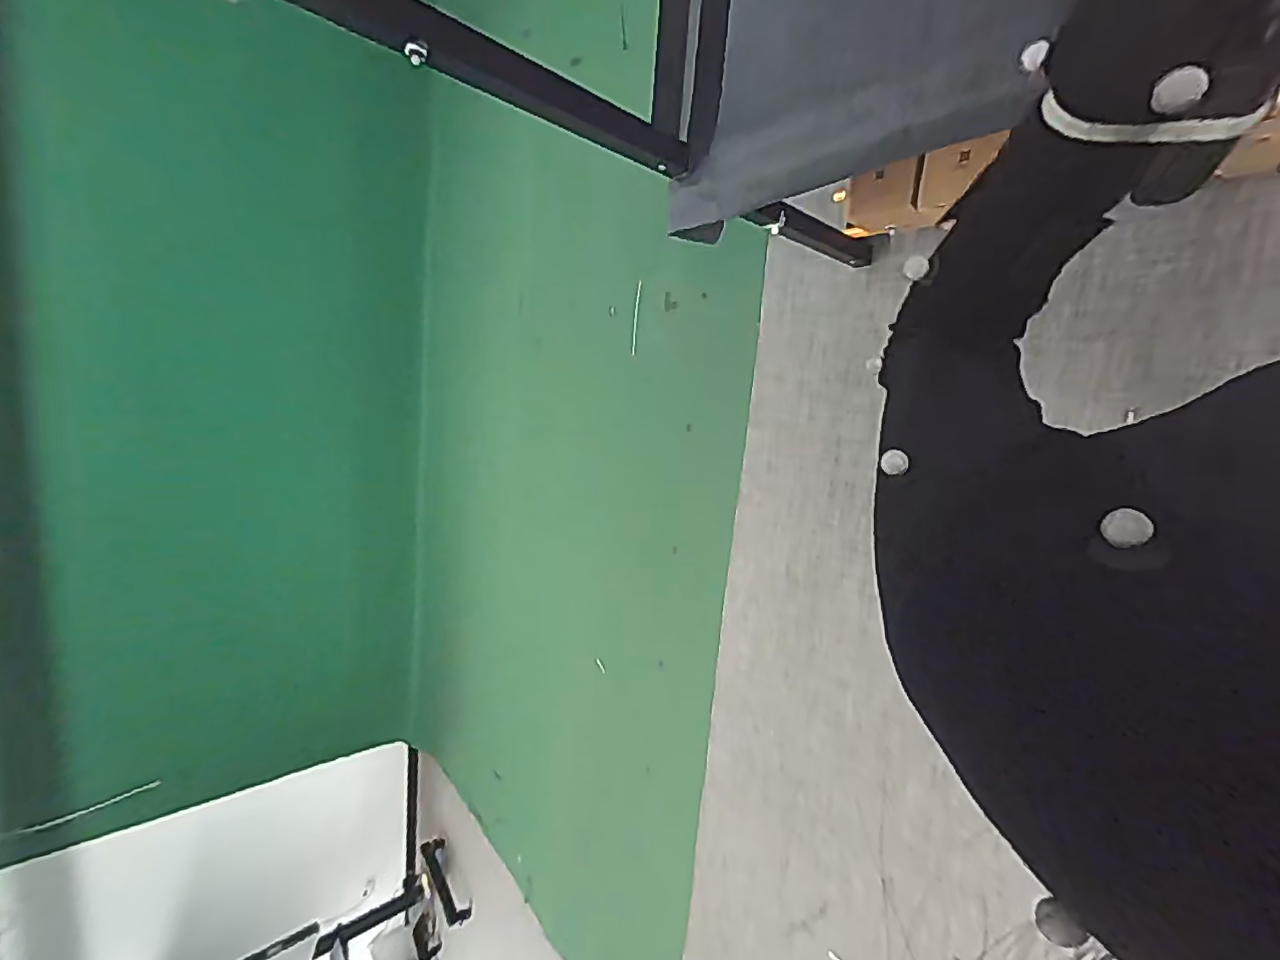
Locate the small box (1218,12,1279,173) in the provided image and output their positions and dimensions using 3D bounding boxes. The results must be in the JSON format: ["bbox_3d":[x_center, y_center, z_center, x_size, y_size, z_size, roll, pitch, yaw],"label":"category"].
[{"bbox_3d":[1.044,-0.605,0.837,0.168,0.176,0.179,21,110,47],"label":"small box"}]
